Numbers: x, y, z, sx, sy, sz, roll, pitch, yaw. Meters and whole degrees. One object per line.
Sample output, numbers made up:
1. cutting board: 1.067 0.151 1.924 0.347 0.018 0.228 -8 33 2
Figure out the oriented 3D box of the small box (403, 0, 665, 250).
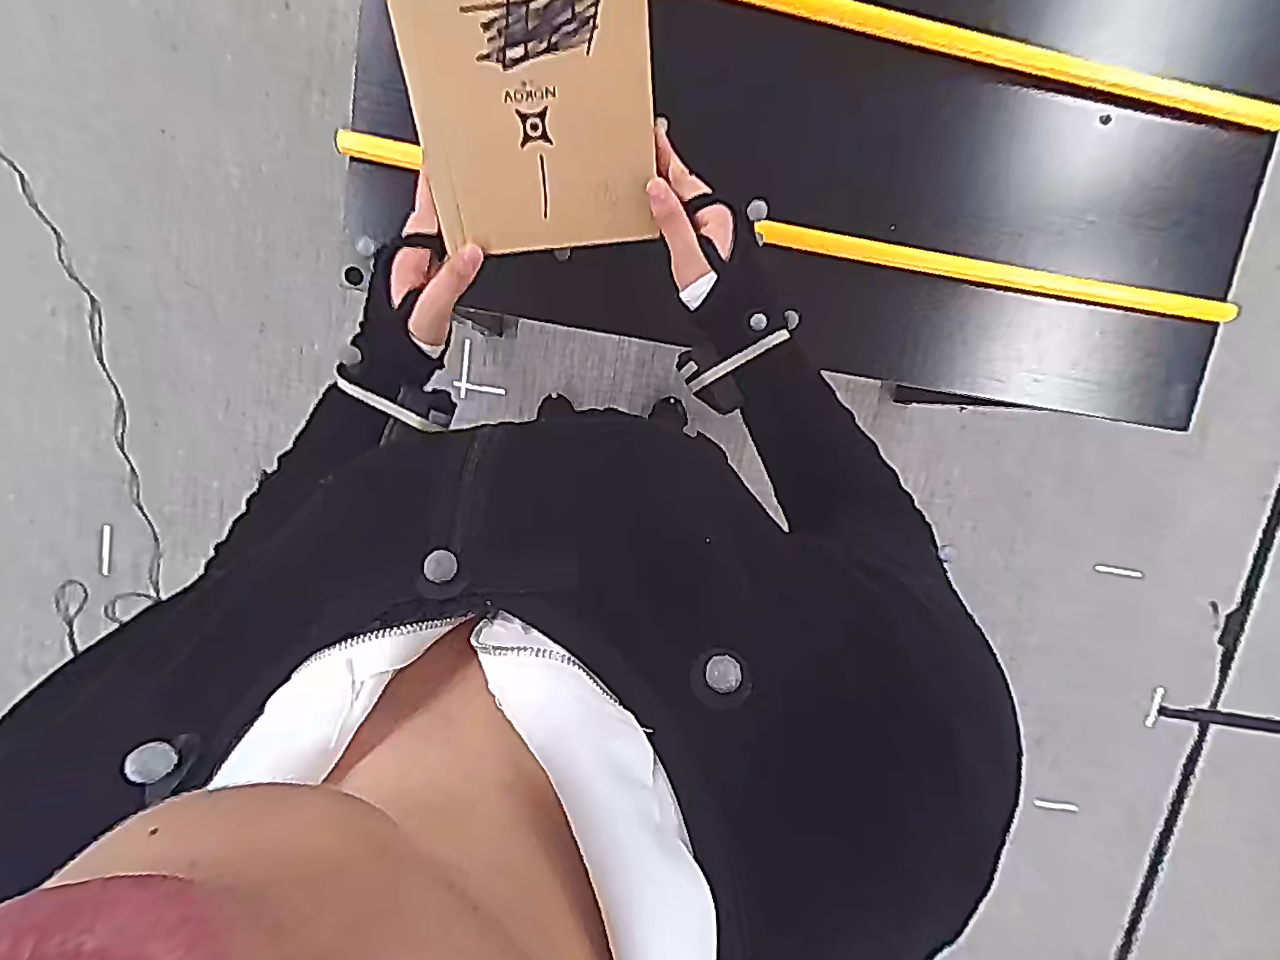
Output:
1. small box: -0.071 -0.293 0.446 0.168 0.176 0.179 -5 118 0
